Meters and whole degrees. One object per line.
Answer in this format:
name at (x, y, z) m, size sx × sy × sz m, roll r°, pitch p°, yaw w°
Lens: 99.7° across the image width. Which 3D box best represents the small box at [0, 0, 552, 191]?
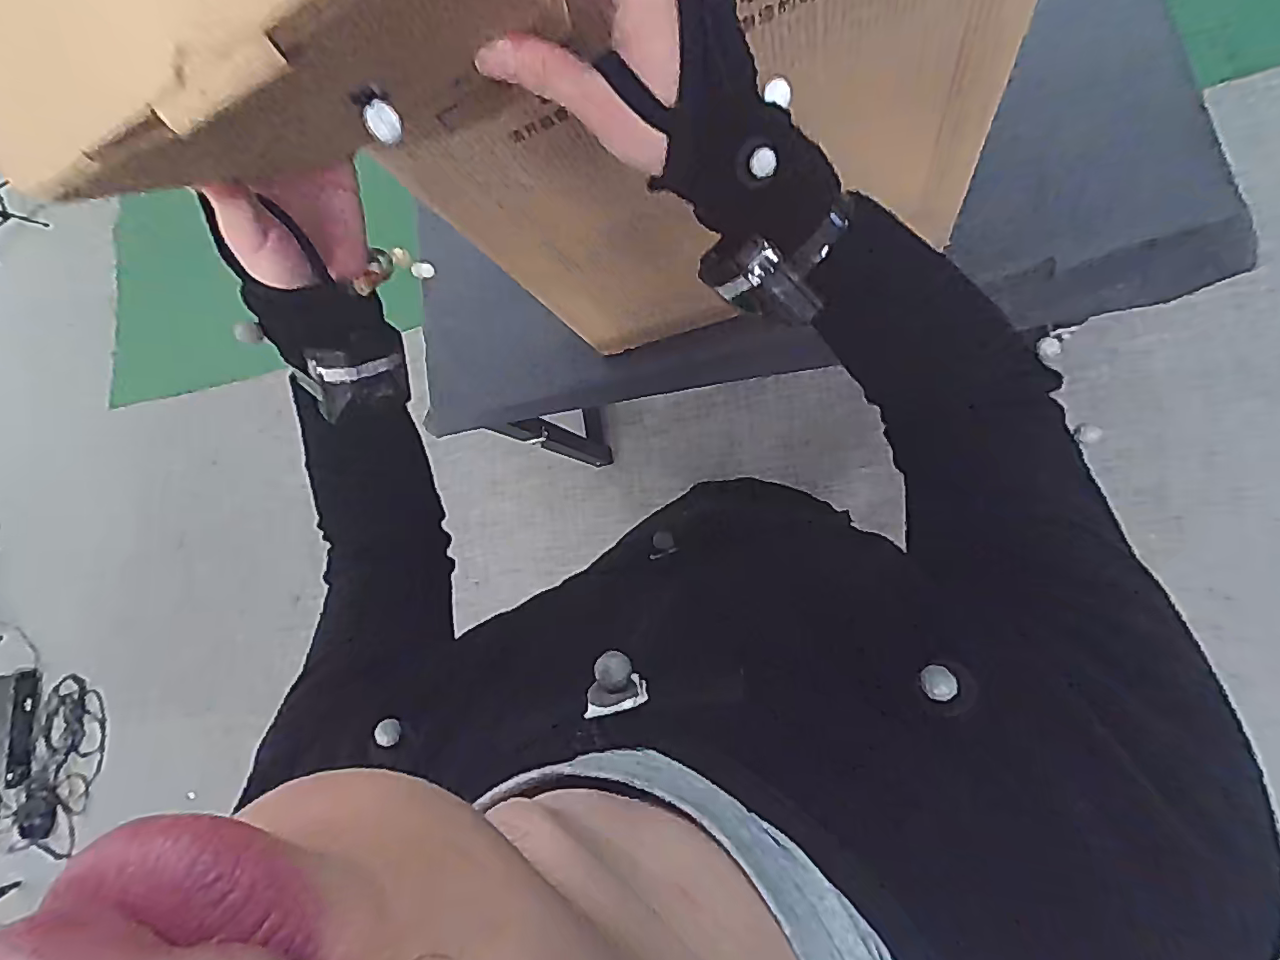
small box at (-0.147, -0.227, 0.177) m, size 0.168 × 0.176 × 0.179 m, roll -18°, pitch 121°, yaw 15°
